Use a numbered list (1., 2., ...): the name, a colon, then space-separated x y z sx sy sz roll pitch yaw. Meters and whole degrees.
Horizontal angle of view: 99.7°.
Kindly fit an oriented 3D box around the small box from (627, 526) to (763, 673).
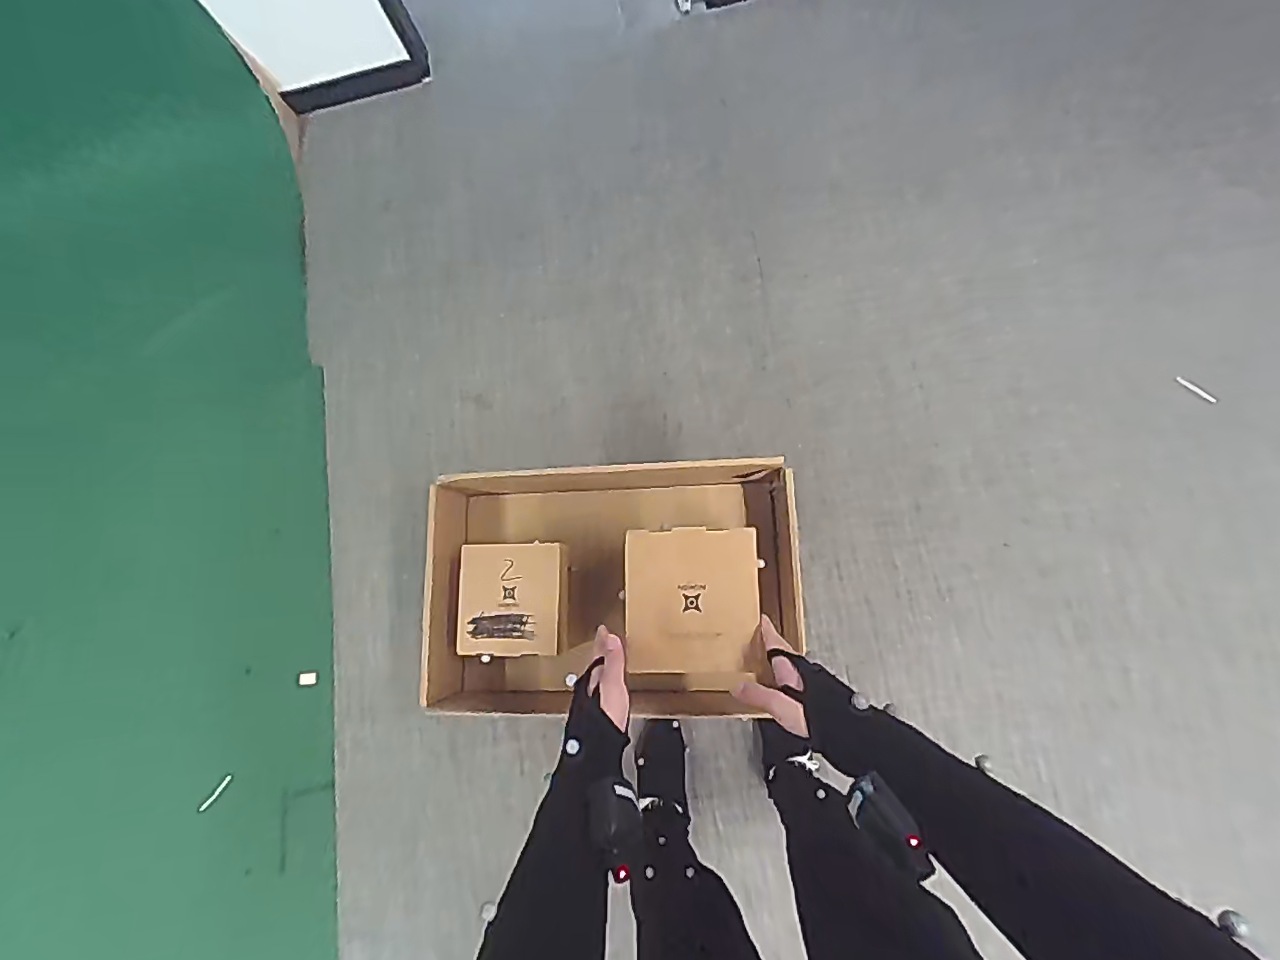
1. small box: 0.075 0.159 0.741 0.168 0.176 0.179 -1 80 8
